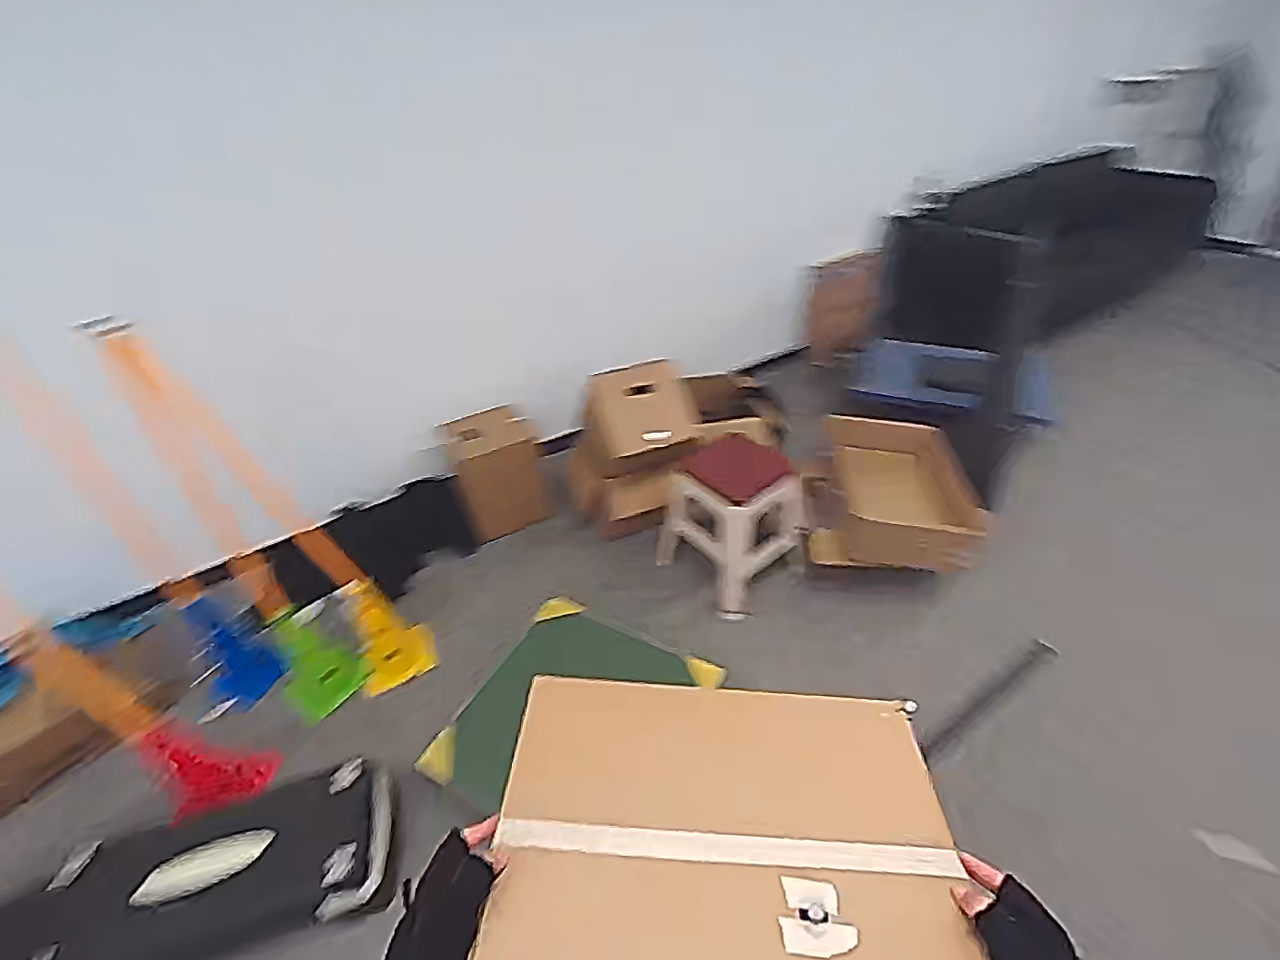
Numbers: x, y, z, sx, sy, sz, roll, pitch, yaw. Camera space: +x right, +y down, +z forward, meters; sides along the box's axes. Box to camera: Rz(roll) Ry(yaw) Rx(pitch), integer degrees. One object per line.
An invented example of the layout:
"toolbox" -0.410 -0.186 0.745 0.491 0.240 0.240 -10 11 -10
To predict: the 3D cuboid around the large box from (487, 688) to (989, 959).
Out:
"large box" 0.077 0.457 0.563 0.408 0.320 0.320 5 37 3
